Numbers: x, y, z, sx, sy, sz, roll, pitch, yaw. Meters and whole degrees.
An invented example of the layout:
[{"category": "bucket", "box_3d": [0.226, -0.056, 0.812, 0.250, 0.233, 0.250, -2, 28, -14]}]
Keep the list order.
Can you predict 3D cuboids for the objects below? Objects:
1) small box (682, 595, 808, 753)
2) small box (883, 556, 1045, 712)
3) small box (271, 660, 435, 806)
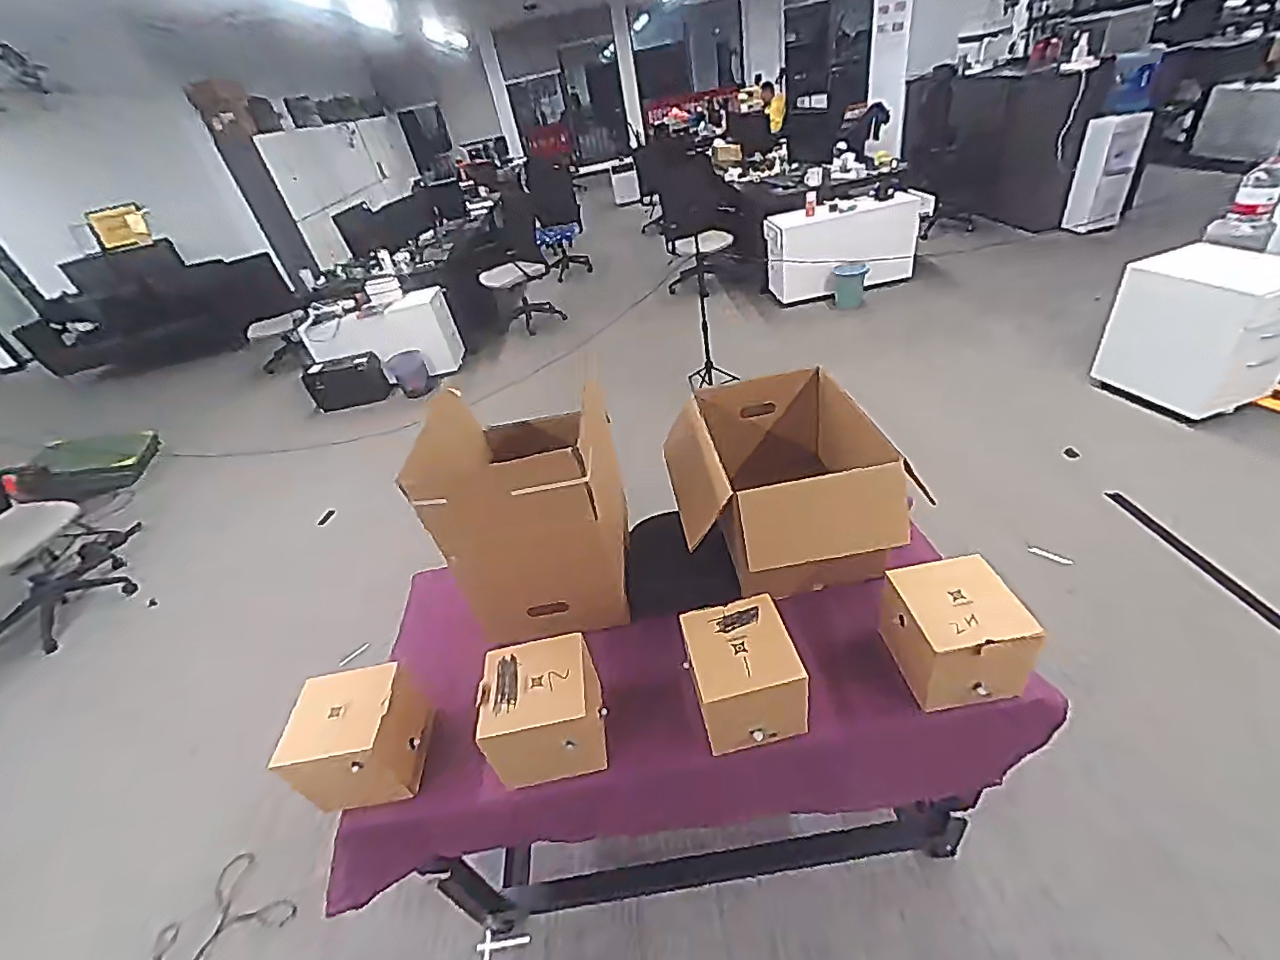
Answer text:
[{"category": "small box", "box_3d": [0.176, 0.331, 0.929, 0.168, 0.176, 0.179, -14, 37, -1]}, {"category": "small box", "box_3d": [0.529, 0.259, 0.916, 0.168, 0.176, 0.179, -11, 35, 3]}, {"category": "small box", "box_3d": [-0.495, 0.454, 0.965, 0.179, 0.176, 0.168, -10, 36, 1]}]
